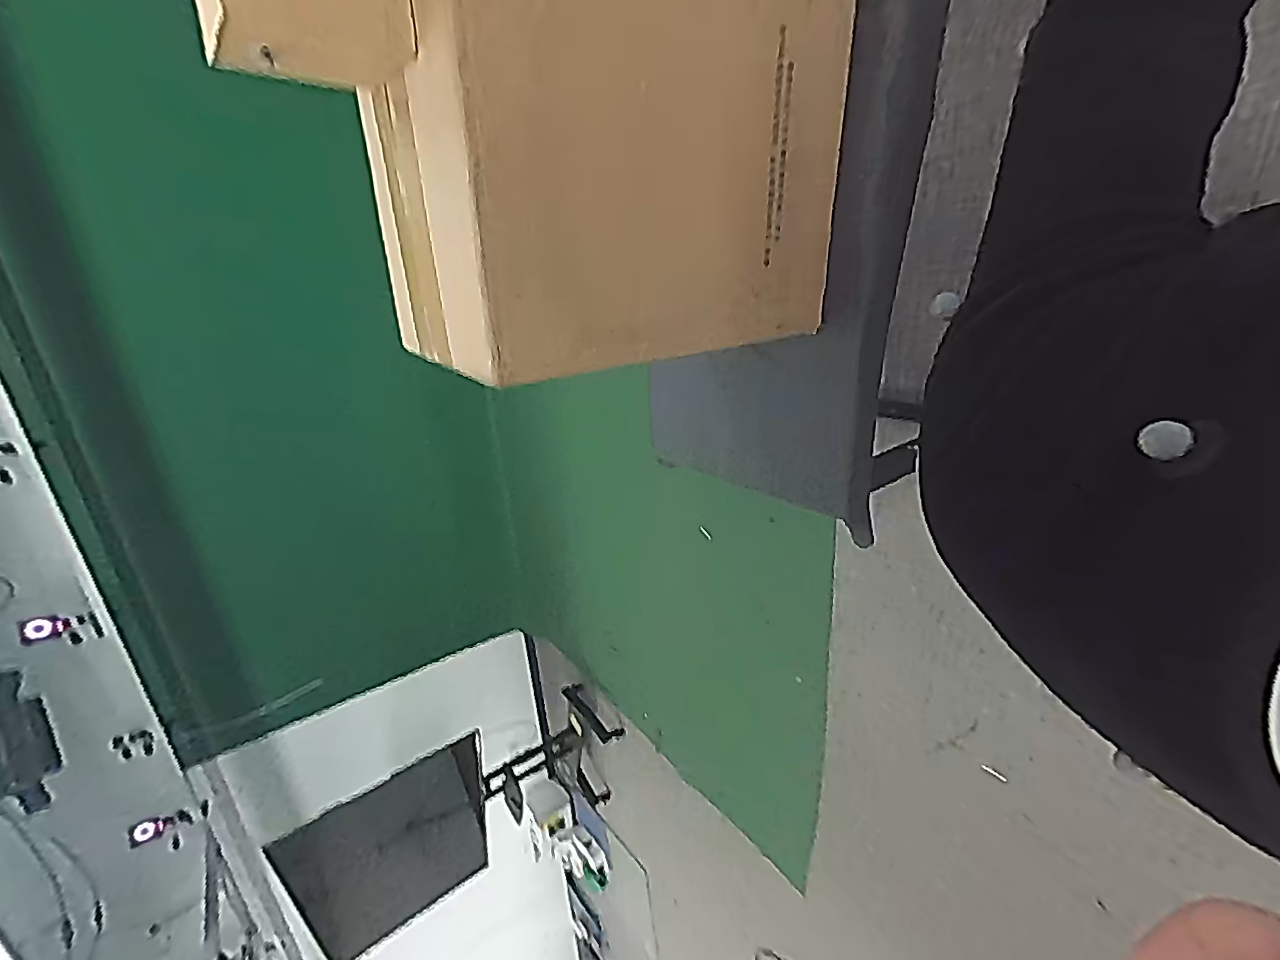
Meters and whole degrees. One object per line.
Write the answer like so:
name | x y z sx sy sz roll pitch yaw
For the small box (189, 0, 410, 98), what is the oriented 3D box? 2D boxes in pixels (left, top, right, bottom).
small box | -0.350 -0.508 0.544 0.179 0.176 0.168 24 123 45
